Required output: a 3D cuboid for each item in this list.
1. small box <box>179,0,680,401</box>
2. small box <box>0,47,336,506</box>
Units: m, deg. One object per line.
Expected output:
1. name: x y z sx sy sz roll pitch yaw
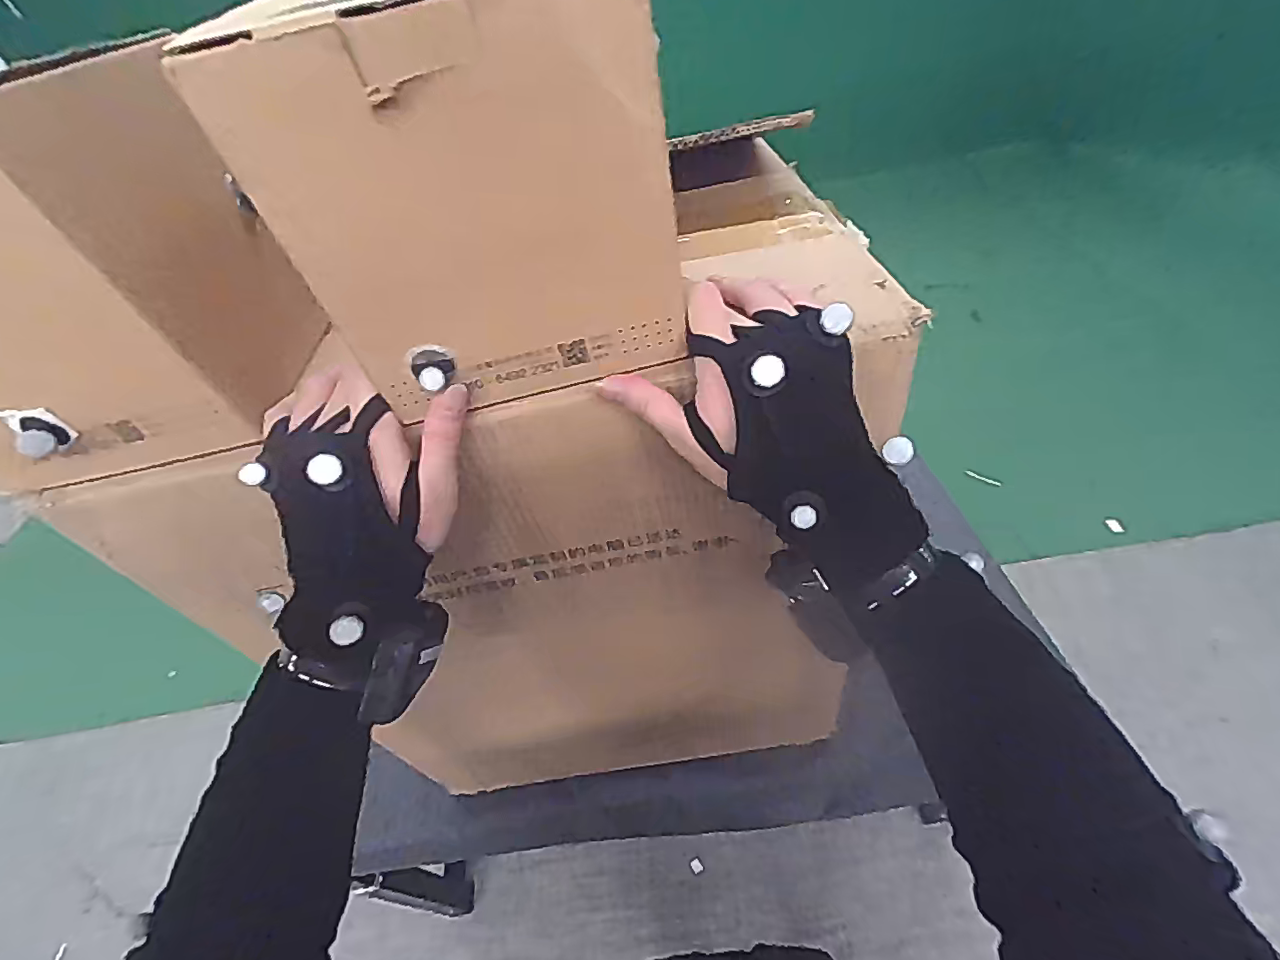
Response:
1. small box: -0.080 -0.162 0.298 0.168 0.176 0.179 -14 47 -1
2. small box: -0.311 -0.114 0.311 0.168 0.176 0.179 -15 46 3
